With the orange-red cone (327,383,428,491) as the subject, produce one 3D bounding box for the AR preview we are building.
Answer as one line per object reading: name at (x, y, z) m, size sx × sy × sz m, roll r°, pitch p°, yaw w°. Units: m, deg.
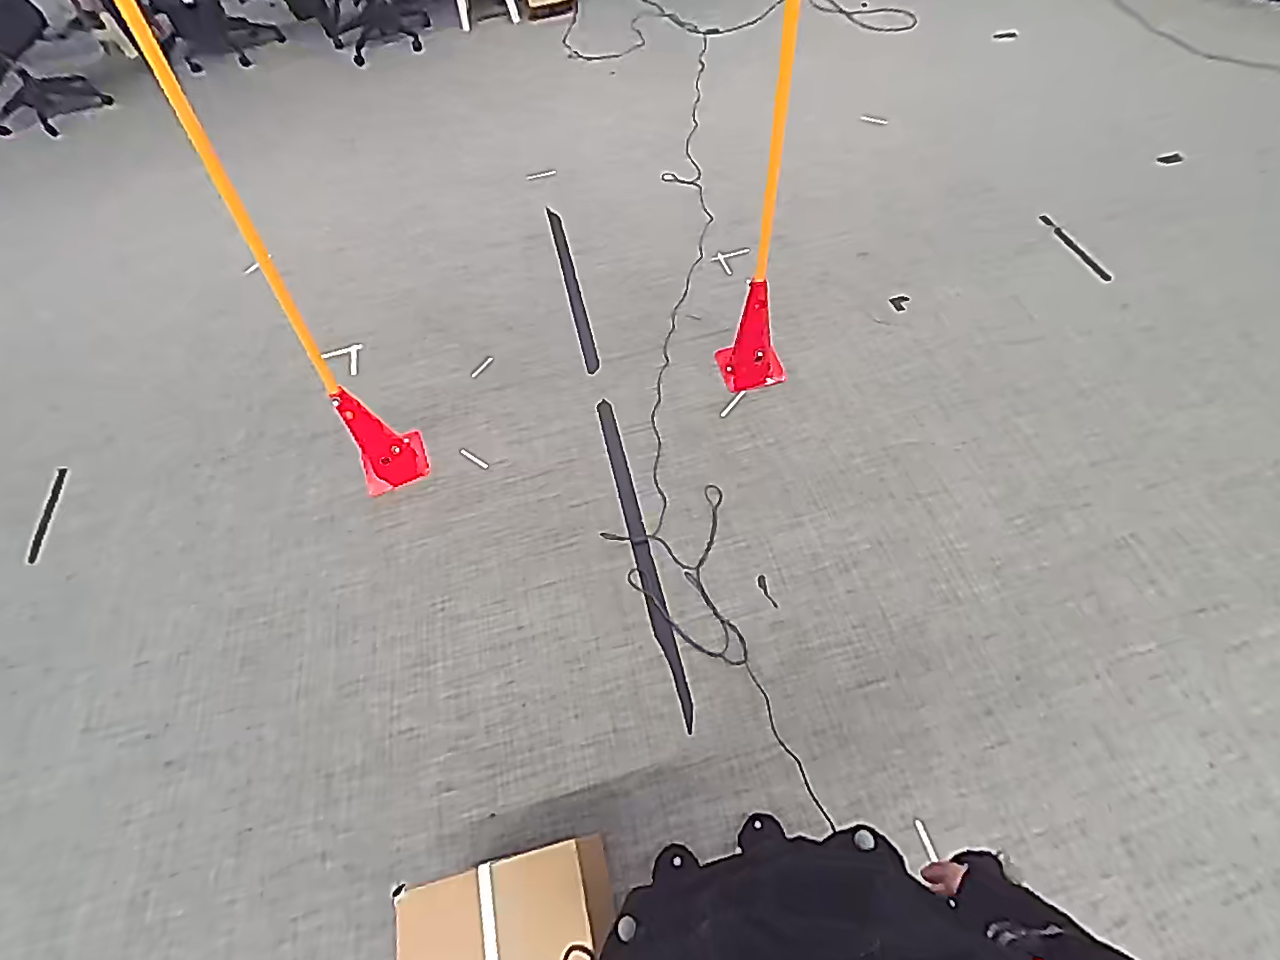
orange-red cone at (-0.804, -0.154, 1.592) m, size 0.199 × 0.360 × 0.198 m, roll -23°, pitch 59°, yaw -7°
